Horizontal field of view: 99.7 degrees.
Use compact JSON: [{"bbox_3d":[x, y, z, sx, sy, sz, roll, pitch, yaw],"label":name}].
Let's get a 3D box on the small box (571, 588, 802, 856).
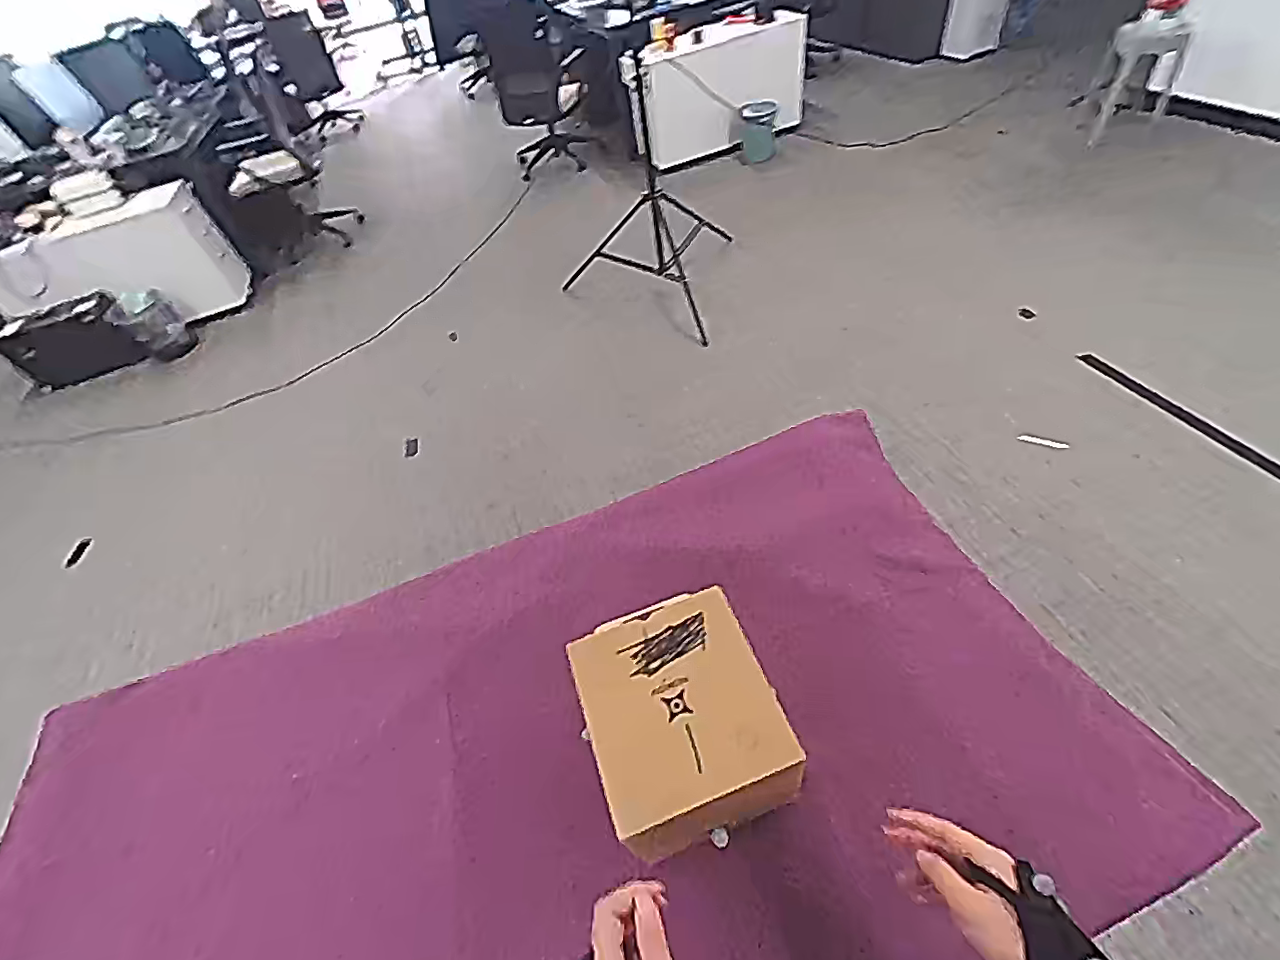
[{"bbox_3d":[0.043,0.247,0.549,0.168,0.176,0.179,-20,49,-6],"label":"small box"}]
